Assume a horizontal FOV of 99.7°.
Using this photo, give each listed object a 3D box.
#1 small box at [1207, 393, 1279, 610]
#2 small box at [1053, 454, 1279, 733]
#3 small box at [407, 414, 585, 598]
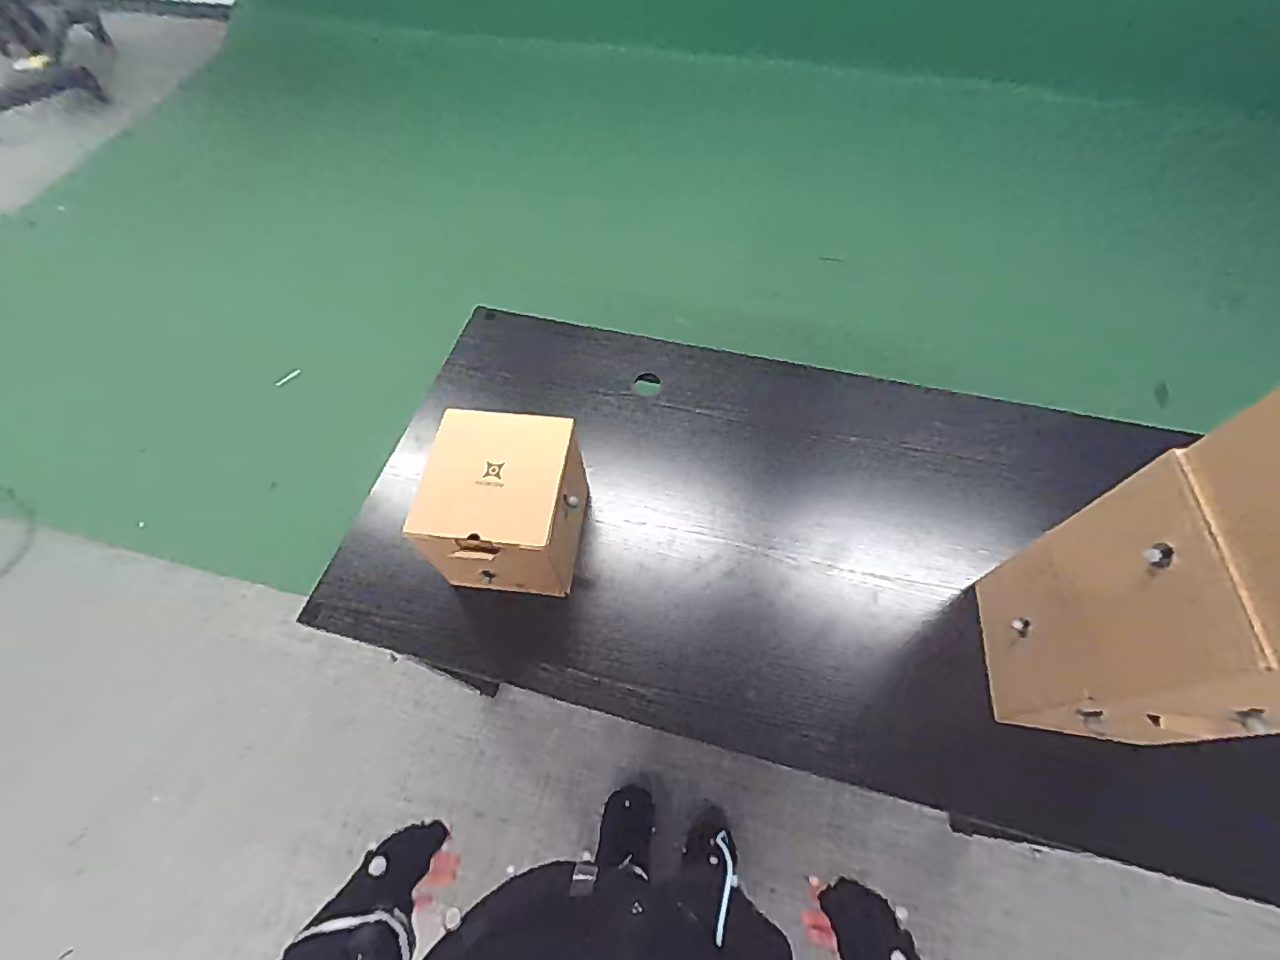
[{"bbox_3d":[0.497,0.013,0.298,0.168,0.176,0.179,6,60,5],"label":"small box"},{"bbox_3d":[0.496,0.101,0.455,0.168,0.176,0.179,5,60,5],"label":"small box"},{"bbox_3d":[-0.169,0.038,0.705,0.168,0.176,0.179,5,62,4],"label":"small box"}]
